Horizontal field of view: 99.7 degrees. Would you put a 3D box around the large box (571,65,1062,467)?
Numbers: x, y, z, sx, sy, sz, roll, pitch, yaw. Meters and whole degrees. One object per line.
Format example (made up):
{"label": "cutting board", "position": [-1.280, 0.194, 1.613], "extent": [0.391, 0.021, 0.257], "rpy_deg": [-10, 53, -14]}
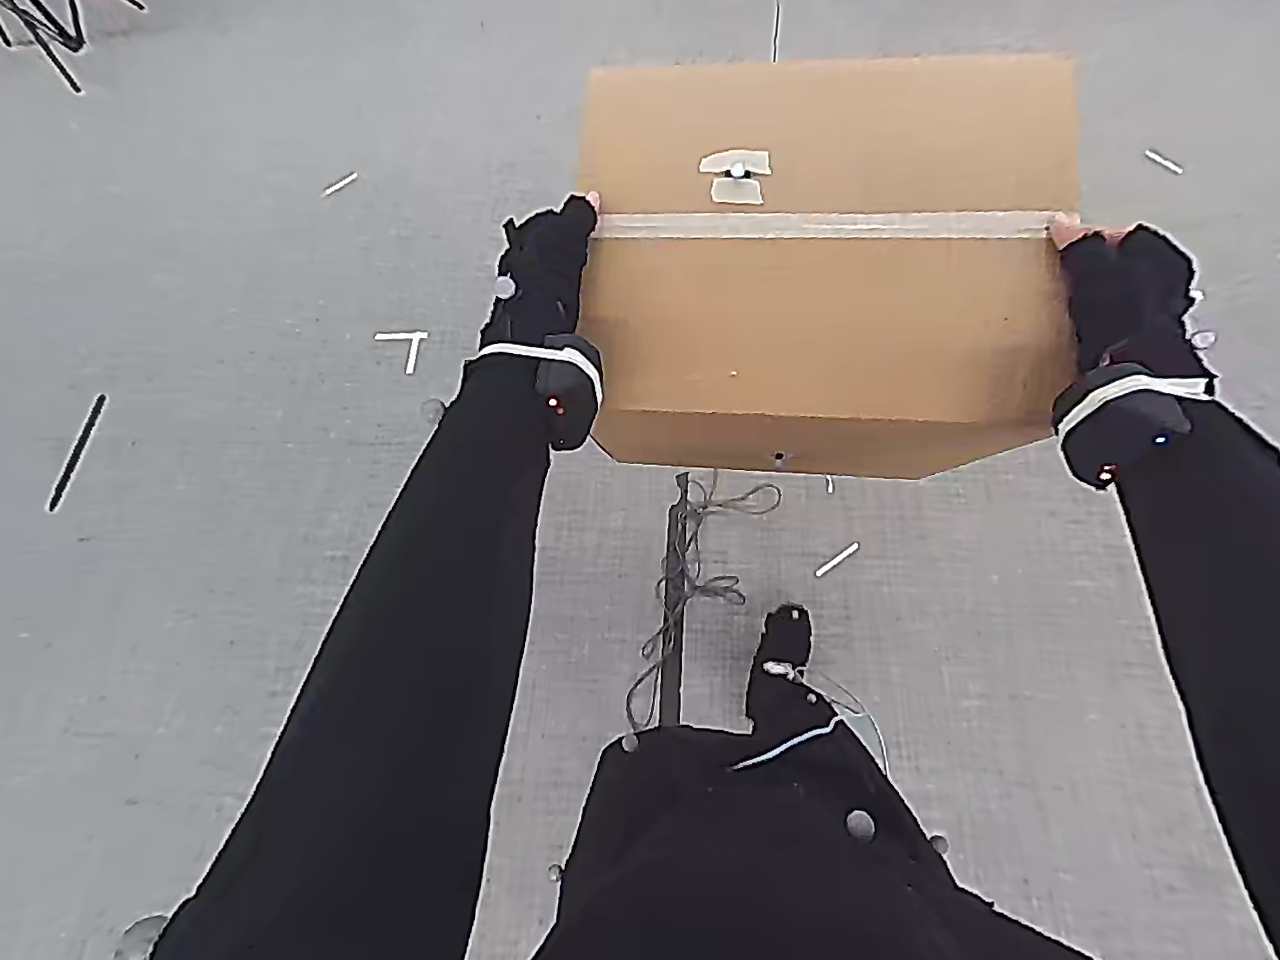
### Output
{"label": "large box", "position": [0.165, -0.191, 0.613], "extent": [0.408, 0.320, 0.320], "rpy_deg": [3, 82, 8]}
